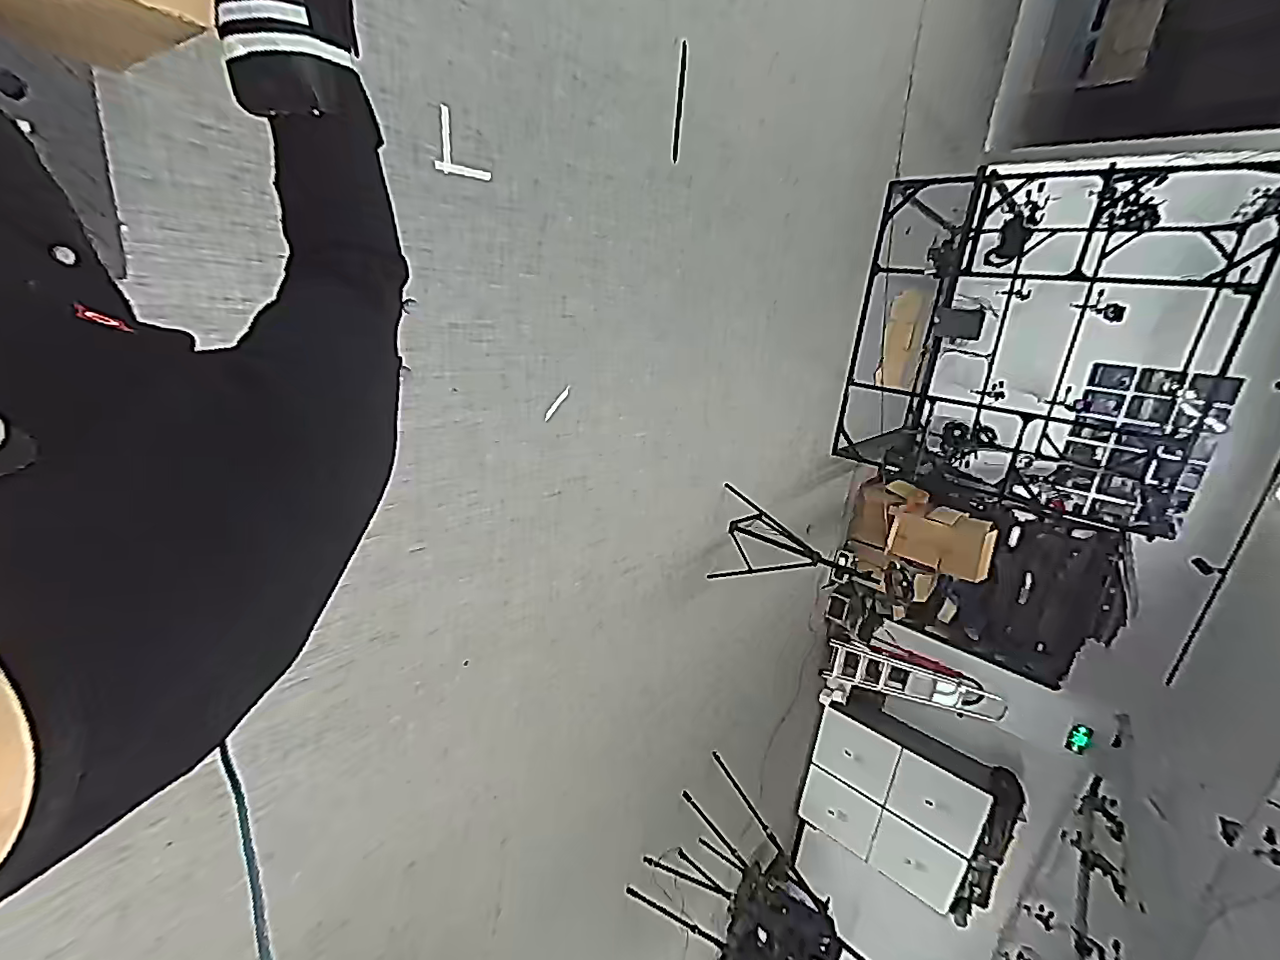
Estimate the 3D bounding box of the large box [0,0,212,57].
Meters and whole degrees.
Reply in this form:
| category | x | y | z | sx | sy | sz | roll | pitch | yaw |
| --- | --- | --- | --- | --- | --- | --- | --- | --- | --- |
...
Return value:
| category | x | y | z | sx | sy | sz | roll | pitch | yaw |
| --- | --- | --- | --- | --- | --- | --- | --- | --- | --- |
| large box | -0.479 | -0.454 | 0.225 | 0.408 | 0.320 | 0.320 | -12 | 120 | -49 |
